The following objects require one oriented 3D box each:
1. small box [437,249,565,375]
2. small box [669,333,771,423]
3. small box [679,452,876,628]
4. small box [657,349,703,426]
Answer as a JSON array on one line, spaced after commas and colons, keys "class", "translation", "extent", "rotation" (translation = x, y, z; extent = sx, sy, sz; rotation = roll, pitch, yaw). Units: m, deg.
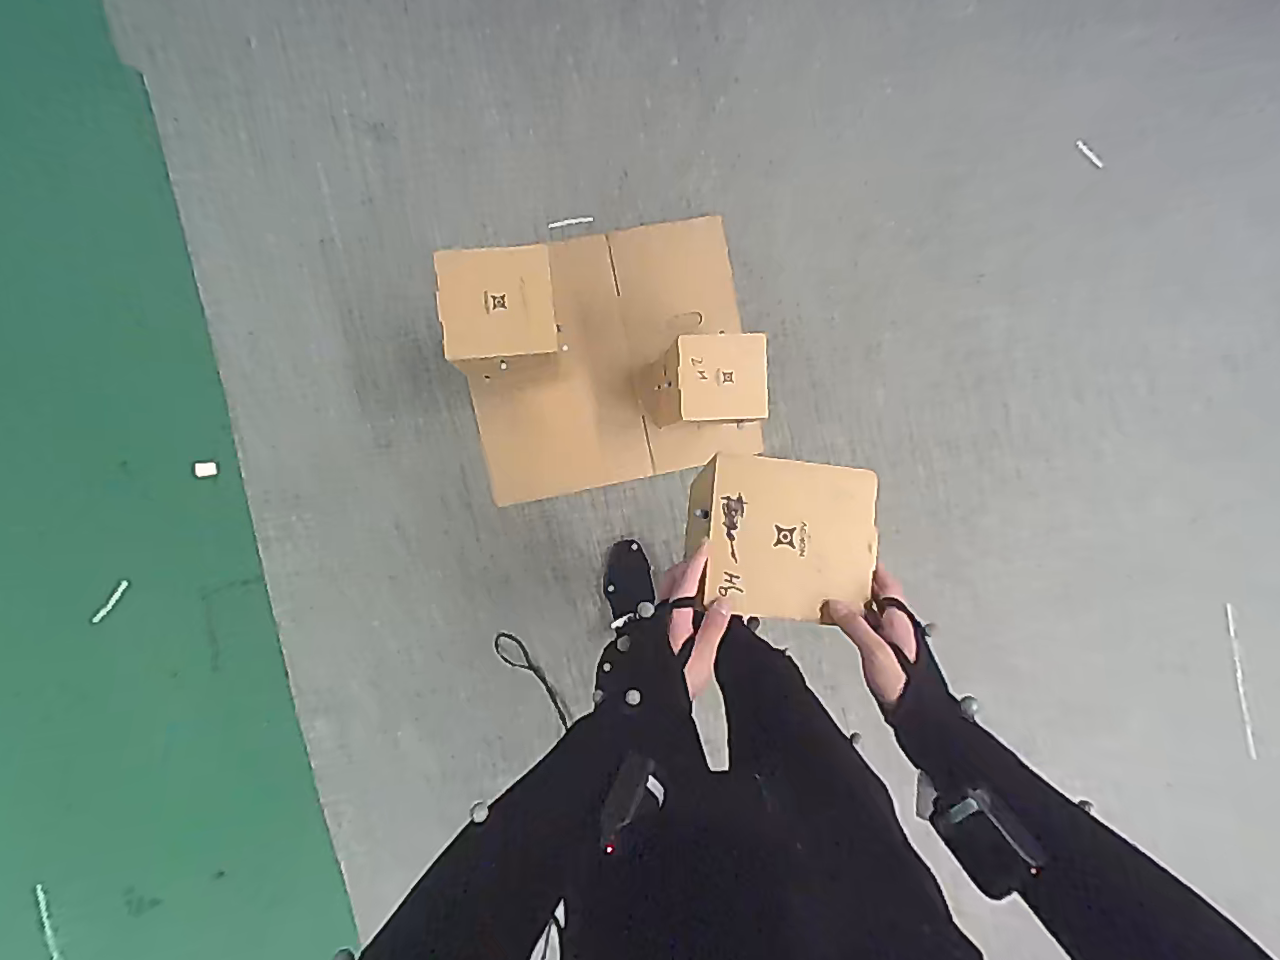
[{"class": "small box", "translation": [-0.224, -0.275, 0.914], "extent": [0.179, 0.176, 0.168], "rotation": [-6, 94, -5]}, {"class": "small box", "translation": [0.160, -0.205, 1.118], "extent": [0.179, 0.176, 0.168], "rotation": [-2, 93, -4]}, {"class": "small box", "translation": [0.151, 0.076, 0.636], "extent": [0.179, 0.176, 0.168], "rotation": [7, 77, -3]}, {"class": "small box", "translation": [0.144, -0.221, 1.281], "extent": [0.179, 0.176, 0.168], "rotation": [-6, 93, -4]}]
